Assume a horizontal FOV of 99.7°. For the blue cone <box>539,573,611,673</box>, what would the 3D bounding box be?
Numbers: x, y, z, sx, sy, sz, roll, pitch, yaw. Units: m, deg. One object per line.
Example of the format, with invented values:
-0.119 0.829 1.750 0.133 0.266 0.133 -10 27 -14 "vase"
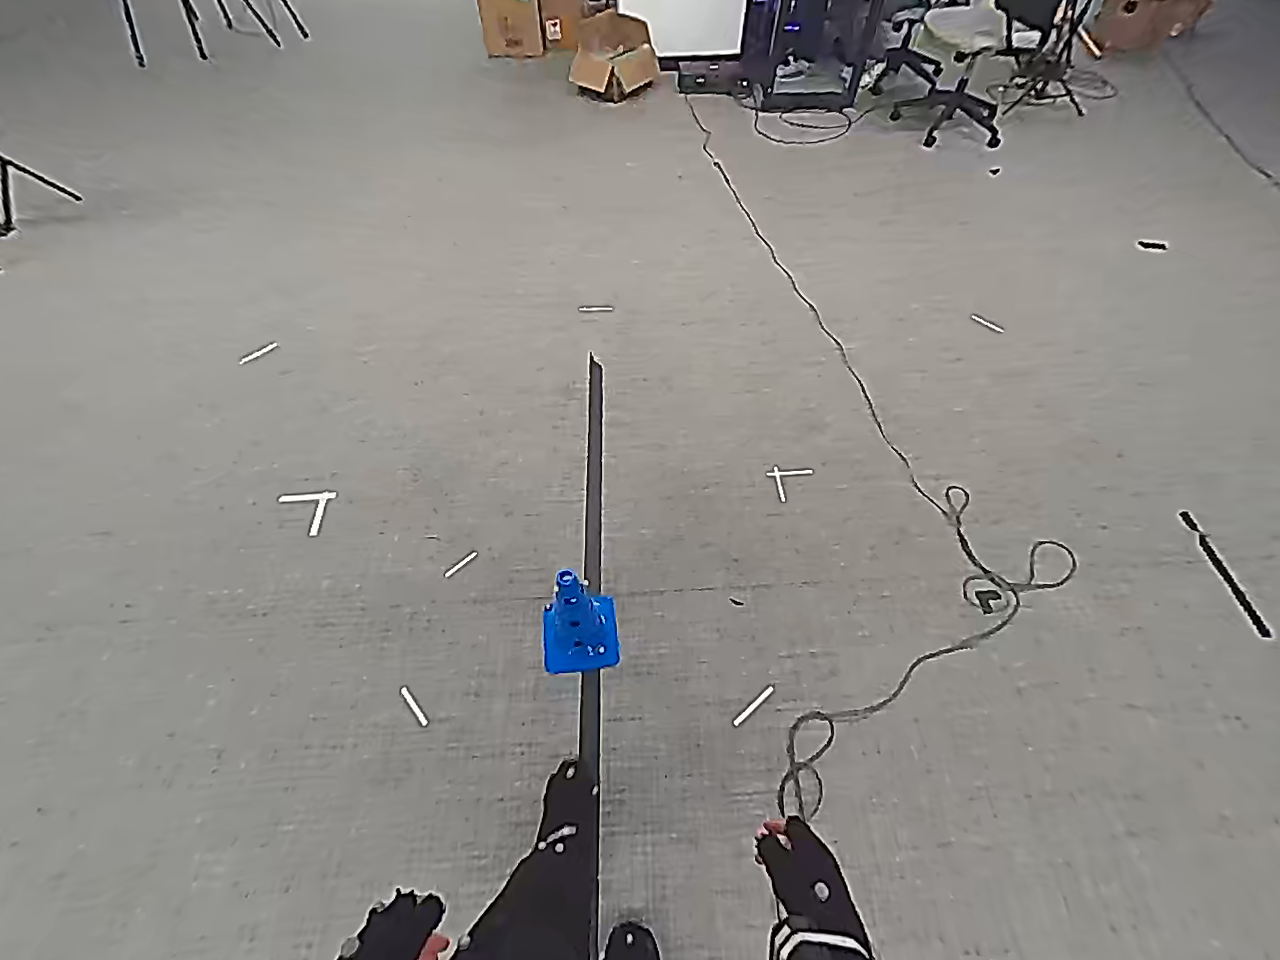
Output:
-0.180 0.324 1.334 0.192 0.380 0.193 -5 54 -3 "blue cone"
